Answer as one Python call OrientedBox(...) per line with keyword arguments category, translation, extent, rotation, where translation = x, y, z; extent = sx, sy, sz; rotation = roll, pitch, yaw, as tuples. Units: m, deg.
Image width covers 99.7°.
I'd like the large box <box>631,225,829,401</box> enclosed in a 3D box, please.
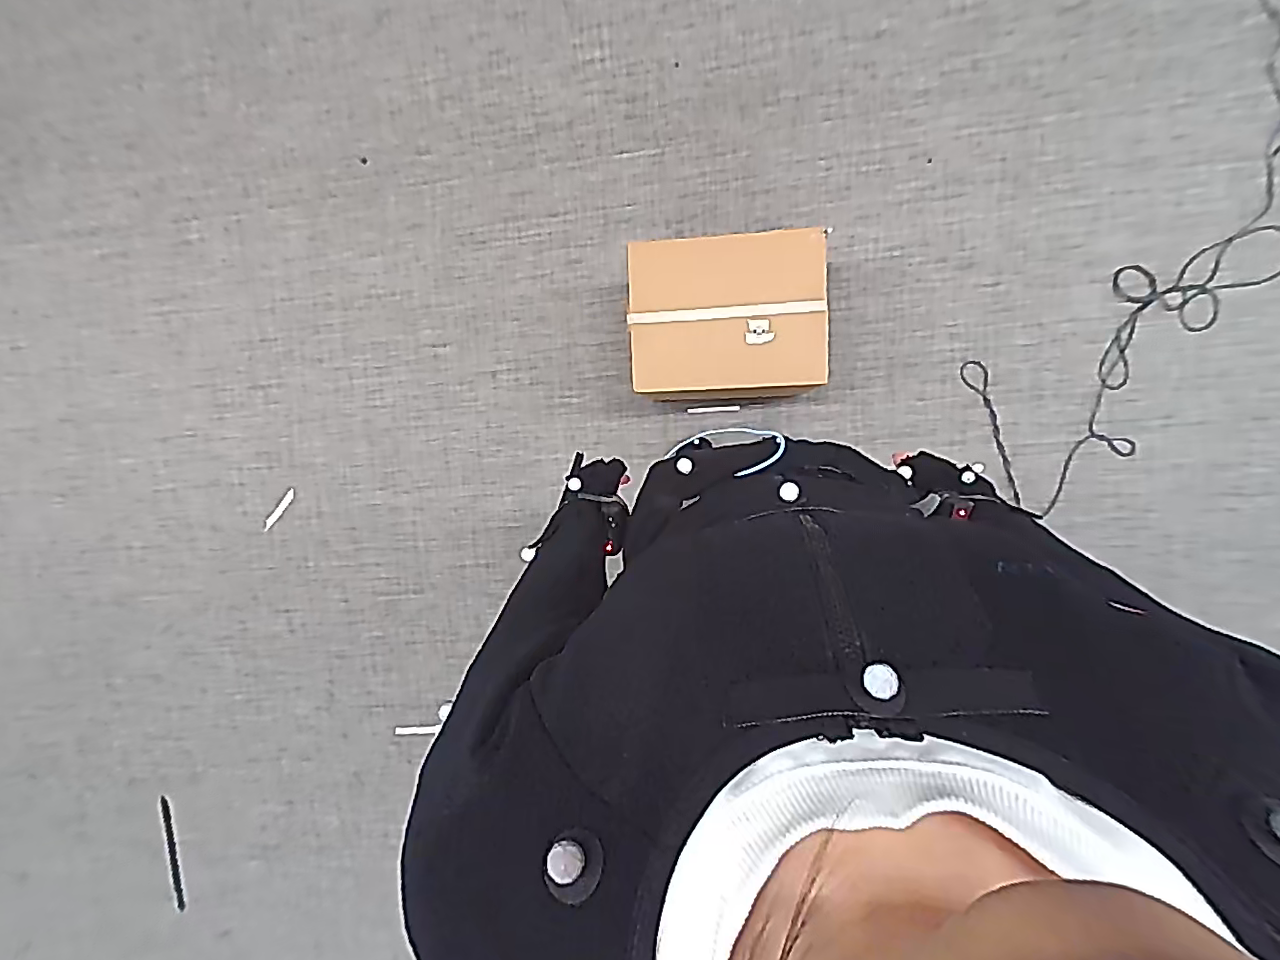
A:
OrientedBox(category="large box", translation=(0.201, -0.363, 1.269), extent=(0.408, 0.320, 0.320), rotation=(-2, 95, 7))
